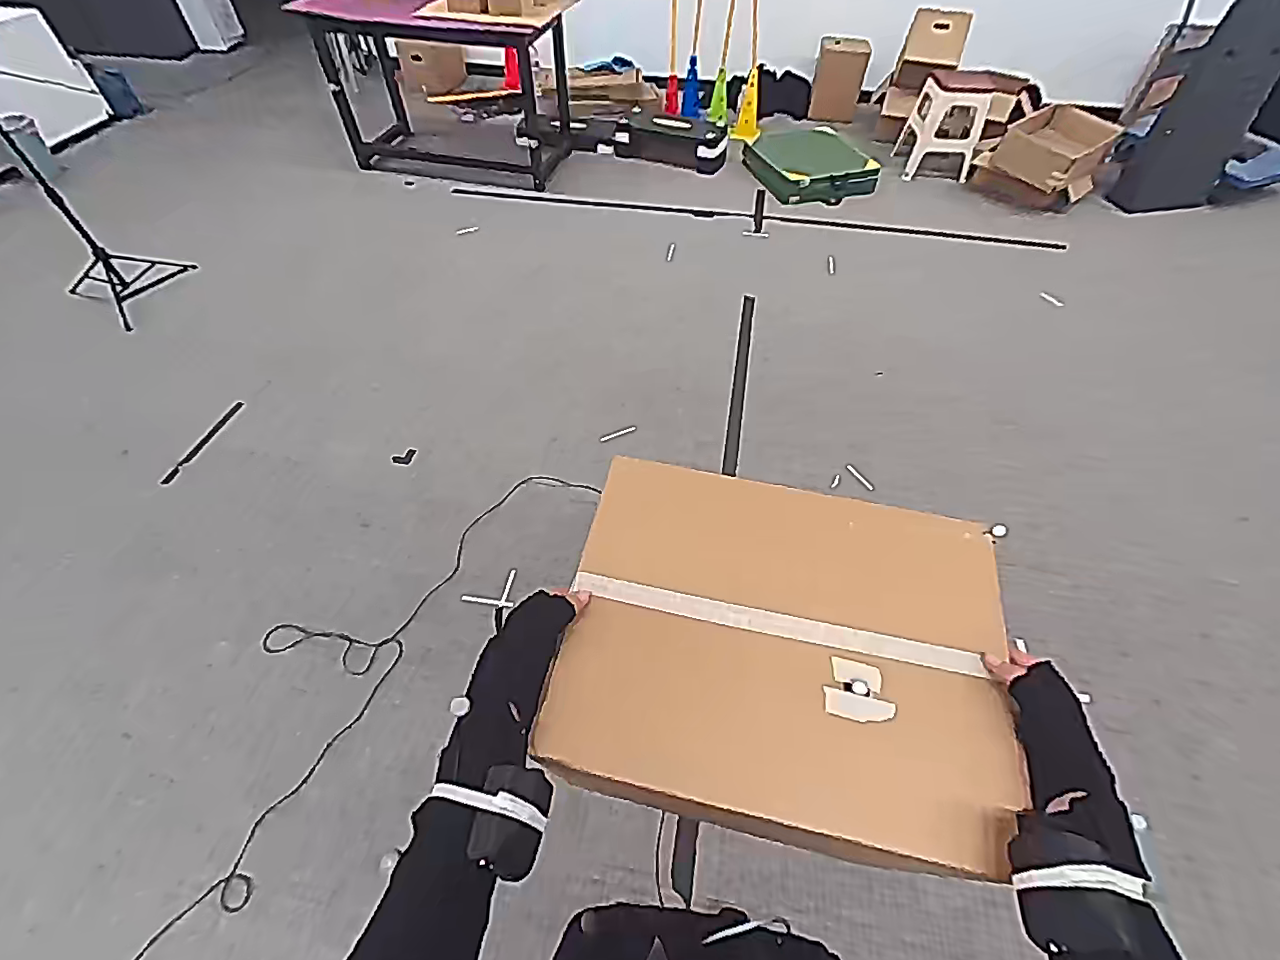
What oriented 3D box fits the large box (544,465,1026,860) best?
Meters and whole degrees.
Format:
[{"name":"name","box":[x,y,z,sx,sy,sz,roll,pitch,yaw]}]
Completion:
[{"name":"large box","box":[0.135,0.219,0.644,0.408,0.320,0.320,11,58,6]}]
